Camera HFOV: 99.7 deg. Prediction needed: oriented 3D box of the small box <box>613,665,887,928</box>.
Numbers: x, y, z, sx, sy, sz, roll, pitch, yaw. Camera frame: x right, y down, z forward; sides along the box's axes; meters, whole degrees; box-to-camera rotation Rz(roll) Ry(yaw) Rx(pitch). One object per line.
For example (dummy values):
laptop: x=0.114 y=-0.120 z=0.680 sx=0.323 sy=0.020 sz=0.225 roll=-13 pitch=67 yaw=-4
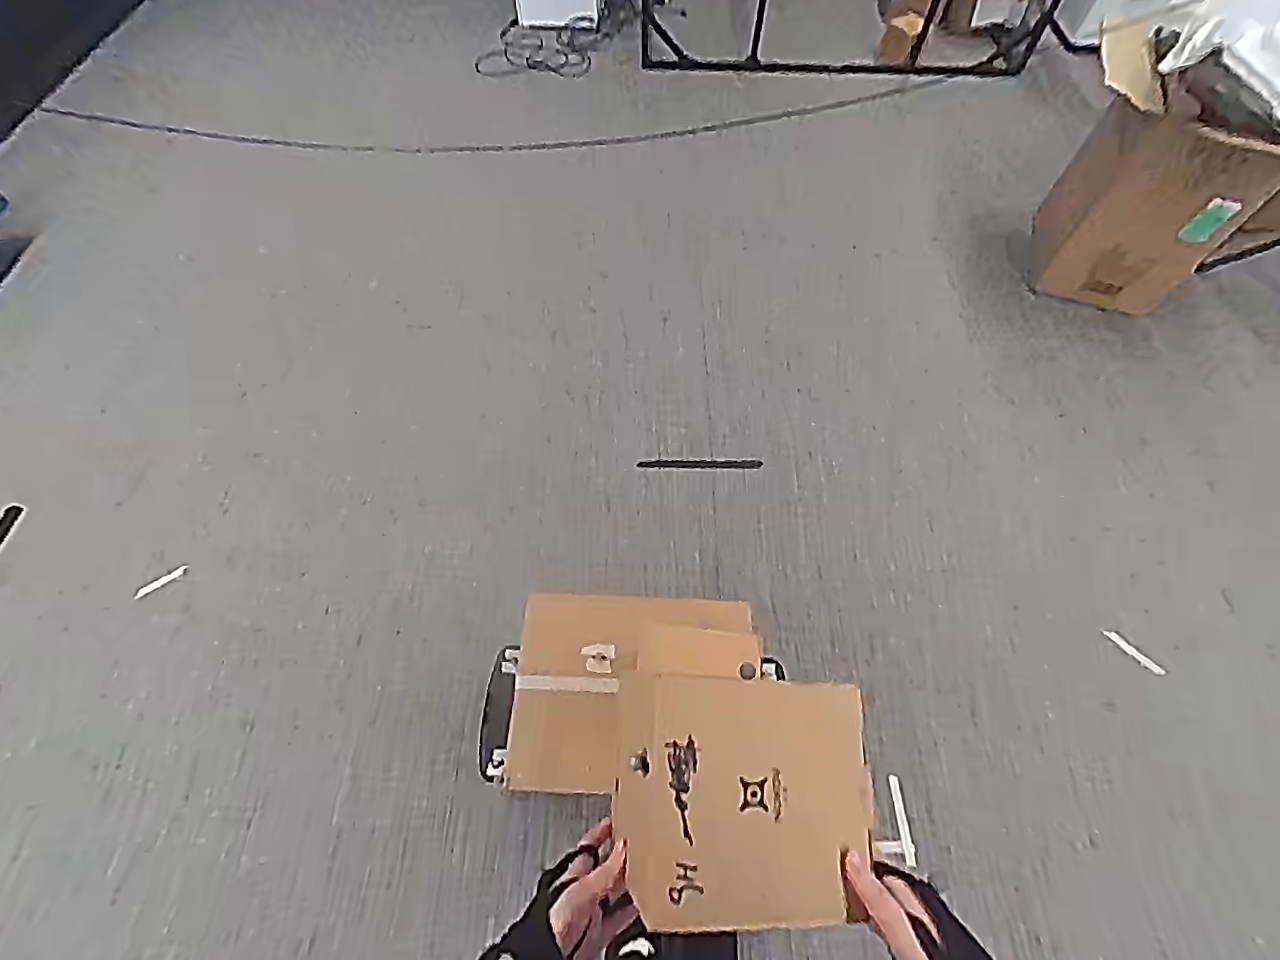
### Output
small box: x=0.080 y=0.252 z=0.471 sx=0.179 sy=0.176 sz=0.168 roll=6 pitch=70 yaw=-10

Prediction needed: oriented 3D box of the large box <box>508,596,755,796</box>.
large box: x=0.003 y=0.416 z=1.023 sx=0.408 sy=0.320 sz=0.320 roll=2 pitch=60 yaw=2

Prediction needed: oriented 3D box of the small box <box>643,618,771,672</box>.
small box: x=0.088 y=0.314 z=0.799 sx=0.179 sy=0.176 sz=0.168 roll=5 pitch=61 yaw=3

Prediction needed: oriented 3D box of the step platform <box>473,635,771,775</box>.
step platform: x=-0.016 y=0.546 z=1.223 sx=0.684 sy=0.204 sz=0.286 roll=6 pitch=61 yaw=4
